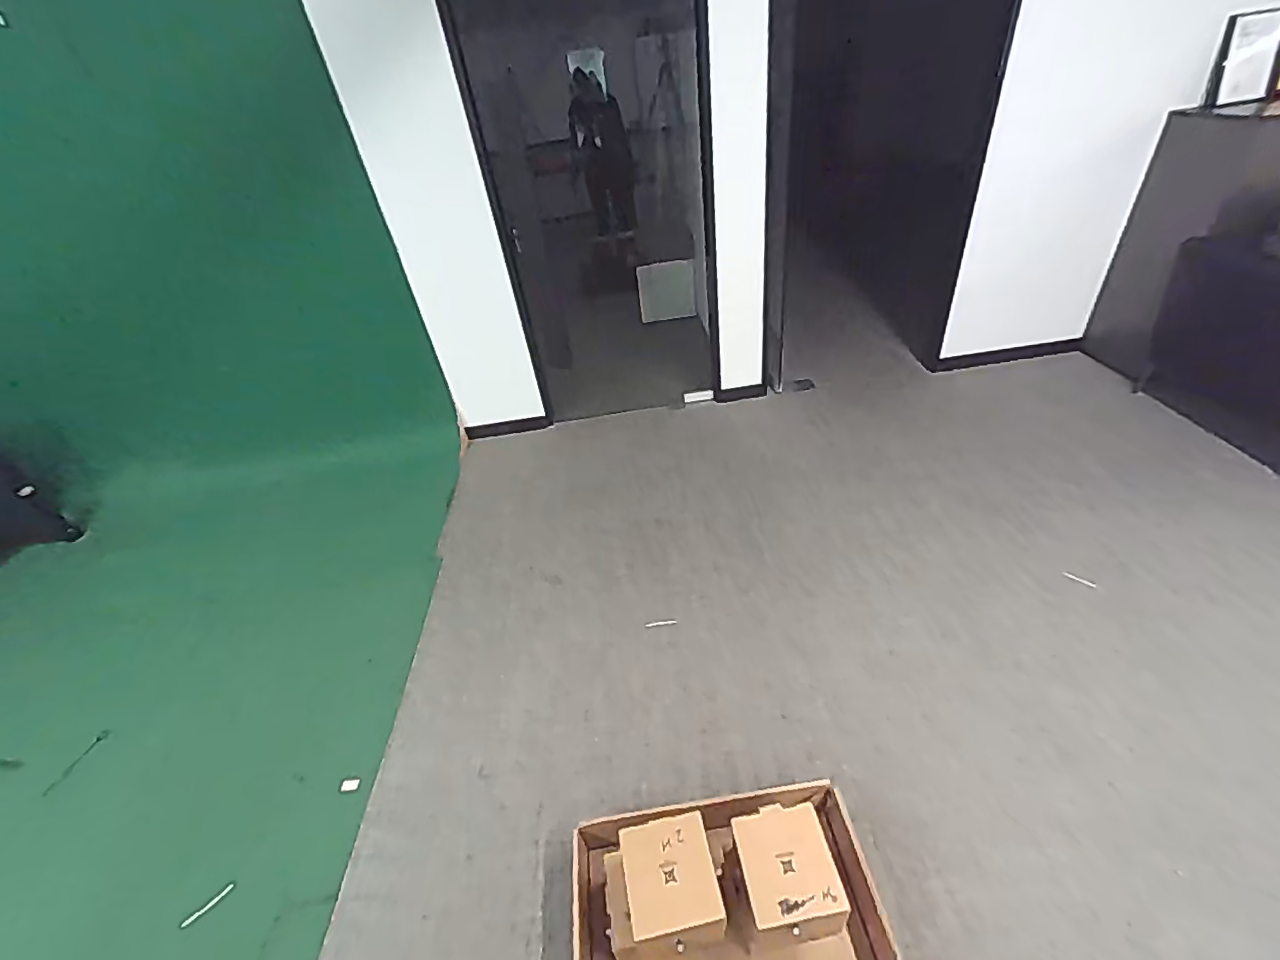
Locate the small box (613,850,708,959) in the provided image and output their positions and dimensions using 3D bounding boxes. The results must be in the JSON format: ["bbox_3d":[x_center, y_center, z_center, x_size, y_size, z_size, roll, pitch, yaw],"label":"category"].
[{"bbox_3d":[0.048,0.905,1.161,0.179,0.176,0.168,-10,39,-3],"label":"small box"}]

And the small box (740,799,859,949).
[{"bbox_3d":[0.295,0.751,1.033,0.168,0.176,0.179,-13,38,-1],"label":"small box"}]

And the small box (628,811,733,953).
[{"bbox_3d":[0.078,0.782,1.047,0.168,0.176,0.179,-10,39,-5],"label":"small box"}]

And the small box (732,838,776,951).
[{"bbox_3d":[0.308,0.866,1.153,0.179,0.176,0.168,-14,39,-4],"label":"small box"}]
